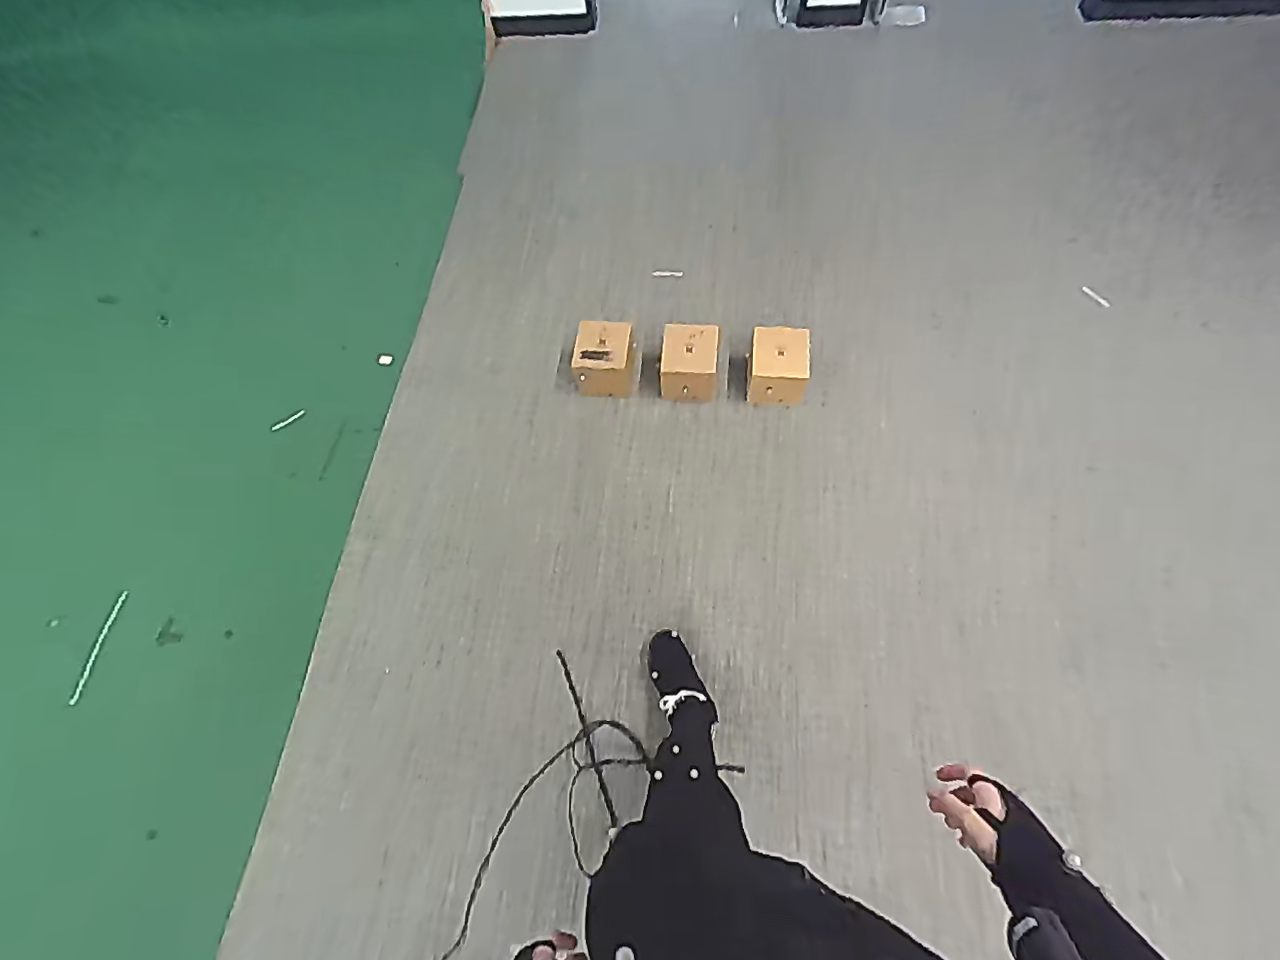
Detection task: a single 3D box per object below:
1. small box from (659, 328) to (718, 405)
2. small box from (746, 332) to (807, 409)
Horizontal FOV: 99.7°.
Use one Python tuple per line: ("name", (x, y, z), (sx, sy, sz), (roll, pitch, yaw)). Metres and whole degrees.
("small box", (0.154, -0.352, 1.699), (0.168, 0.176, 0.179), (4, 67, 6))
("small box", (0.420, -0.336, 1.674), (0.168, 0.176, 0.179), (4, 67, 6))
